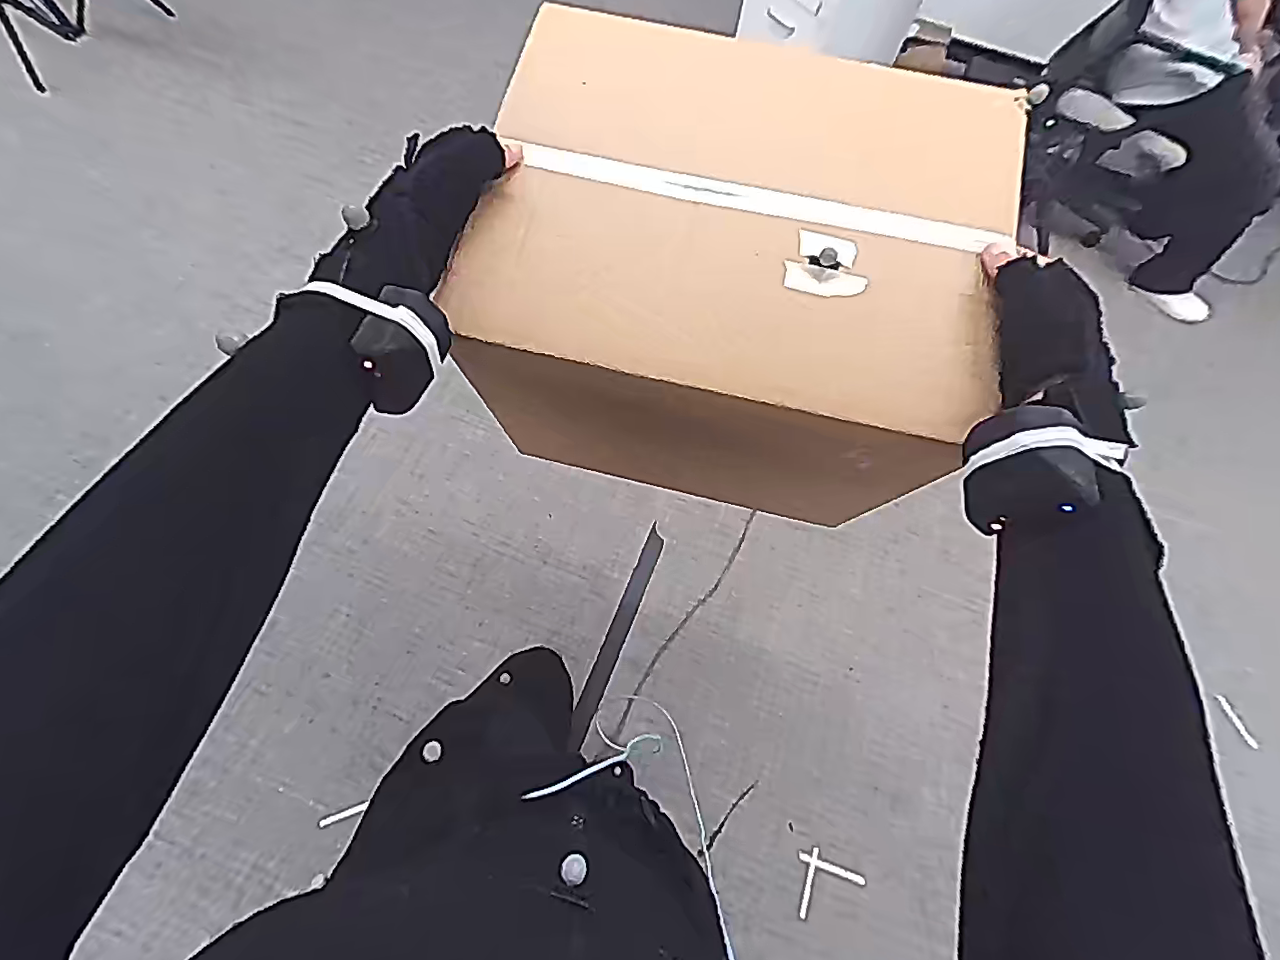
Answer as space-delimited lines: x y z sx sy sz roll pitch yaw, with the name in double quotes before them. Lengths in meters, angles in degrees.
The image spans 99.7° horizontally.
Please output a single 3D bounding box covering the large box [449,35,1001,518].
"large box" 0.078 -0.172 0.575 0.408 0.320 0.320 13 77 3
